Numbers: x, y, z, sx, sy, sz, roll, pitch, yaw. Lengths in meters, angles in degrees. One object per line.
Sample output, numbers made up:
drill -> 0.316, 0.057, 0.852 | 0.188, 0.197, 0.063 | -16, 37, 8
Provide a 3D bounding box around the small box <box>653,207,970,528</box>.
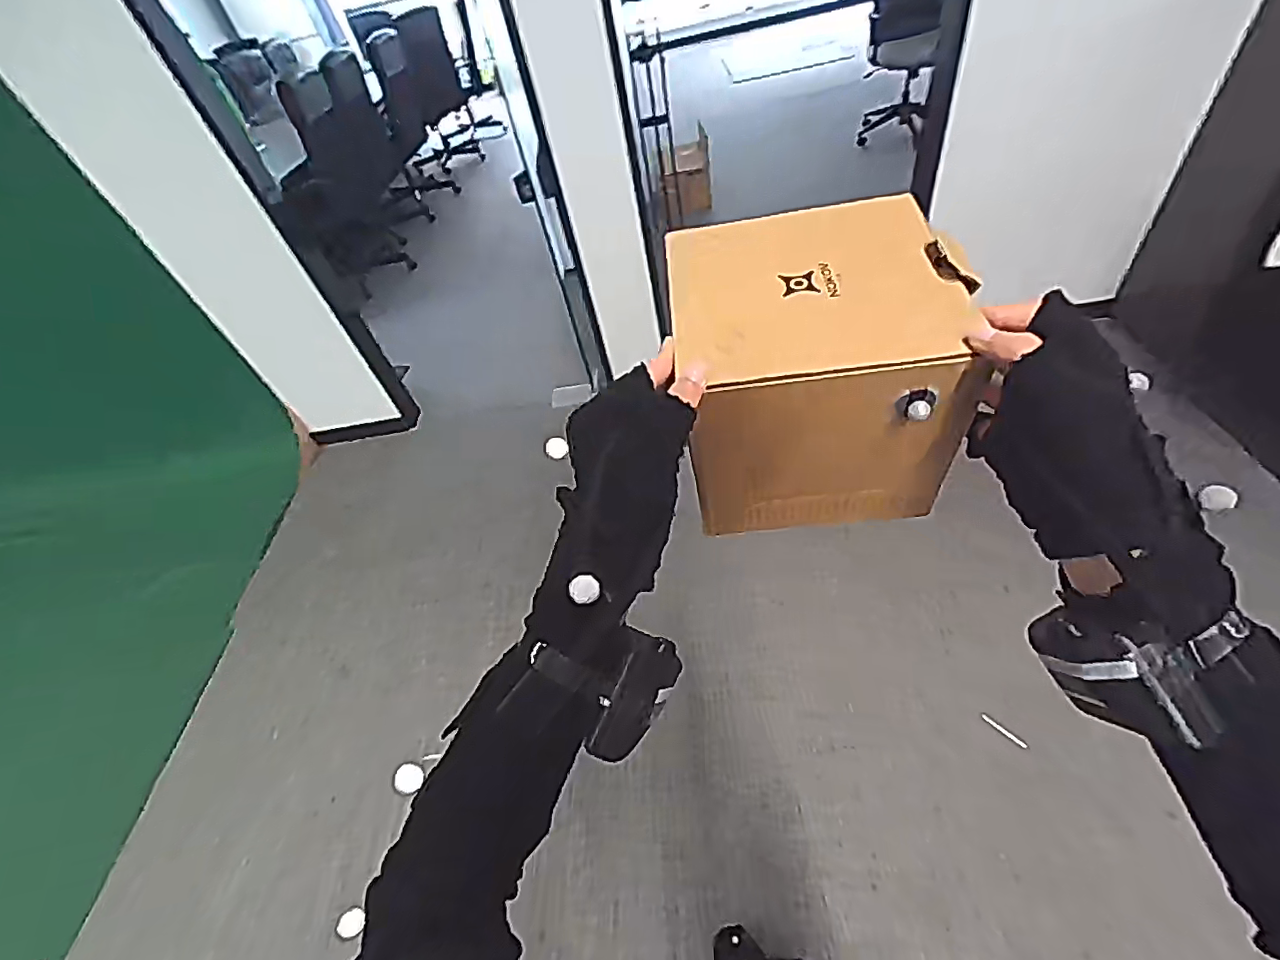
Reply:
small box -> 0.109, -0.076, 0.415 | 0.179, 0.176, 0.168 | -6, 53, 6
